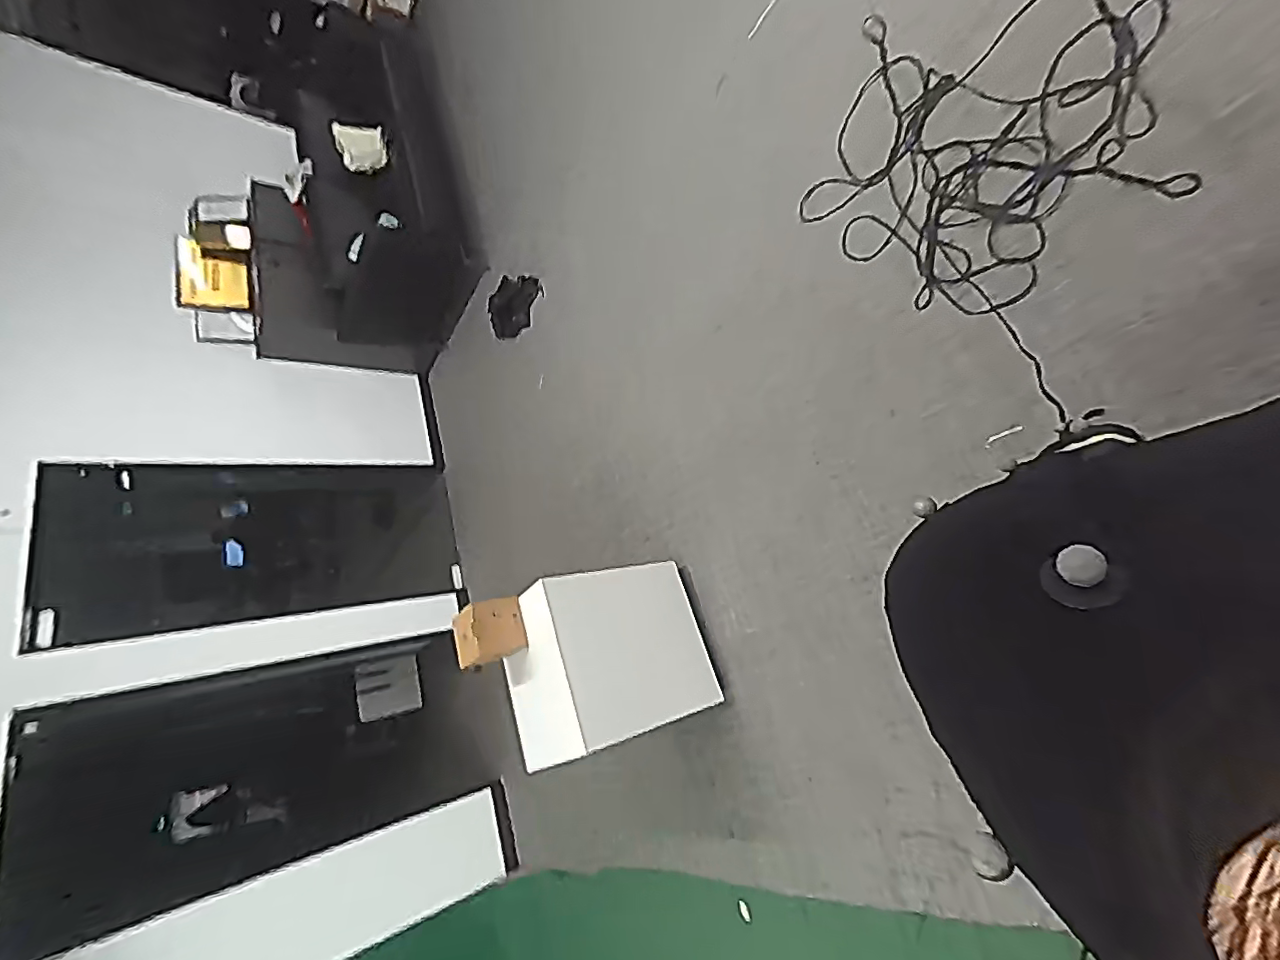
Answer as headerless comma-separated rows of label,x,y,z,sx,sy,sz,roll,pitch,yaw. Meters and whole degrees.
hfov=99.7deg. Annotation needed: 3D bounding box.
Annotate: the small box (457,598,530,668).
small box,-0.470,0.493,1.750,0.179,0.176,0.168,-40,59,44
